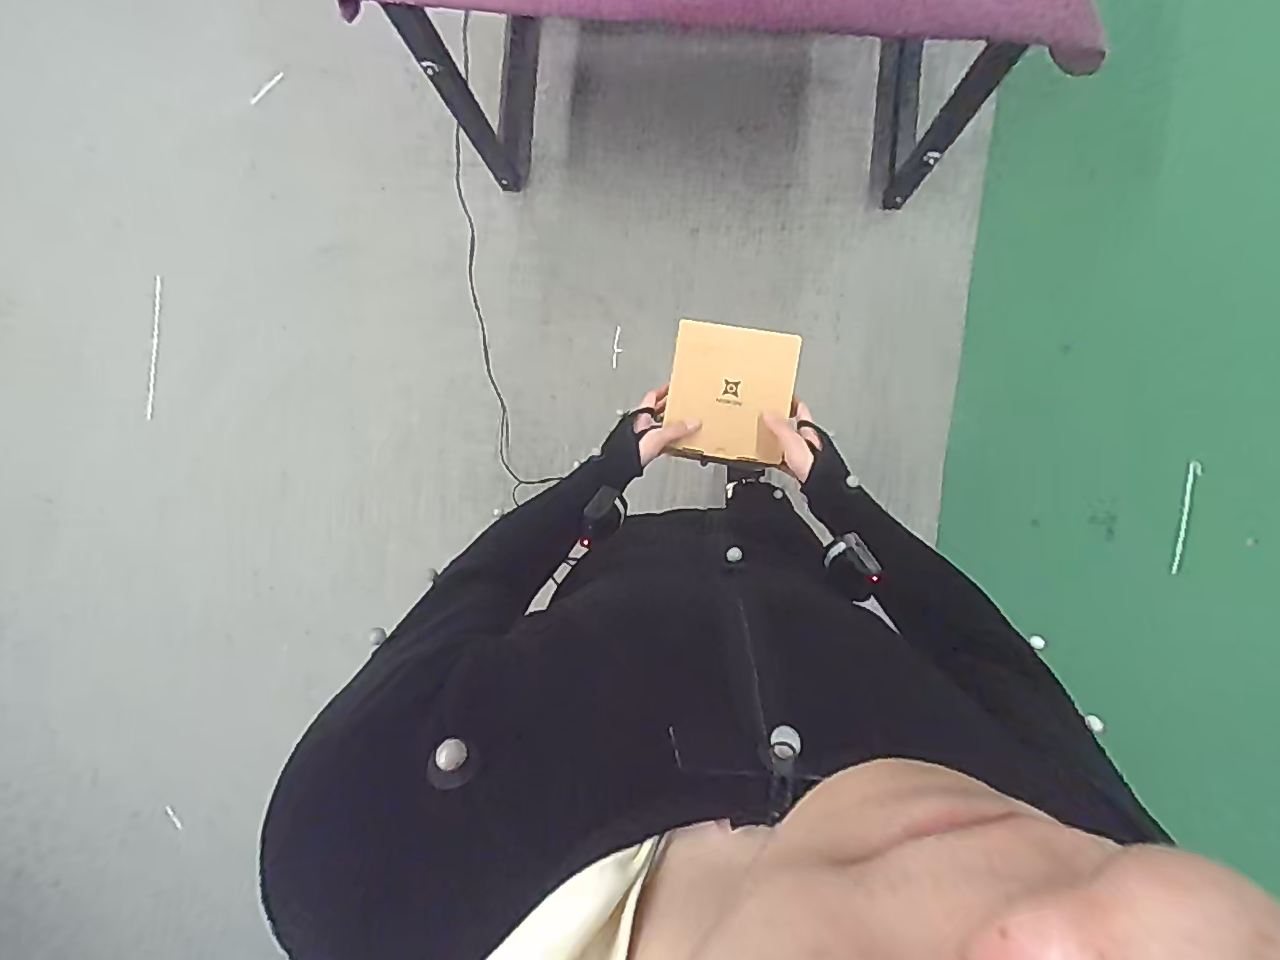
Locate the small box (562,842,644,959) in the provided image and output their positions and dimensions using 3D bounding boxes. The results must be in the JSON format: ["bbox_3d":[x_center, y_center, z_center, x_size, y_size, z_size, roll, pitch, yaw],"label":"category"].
[{"bbox_3d":[-0.085,1.056,1.347,0.168,0.176,0.179,8,93,5],"label":"small box"}]
